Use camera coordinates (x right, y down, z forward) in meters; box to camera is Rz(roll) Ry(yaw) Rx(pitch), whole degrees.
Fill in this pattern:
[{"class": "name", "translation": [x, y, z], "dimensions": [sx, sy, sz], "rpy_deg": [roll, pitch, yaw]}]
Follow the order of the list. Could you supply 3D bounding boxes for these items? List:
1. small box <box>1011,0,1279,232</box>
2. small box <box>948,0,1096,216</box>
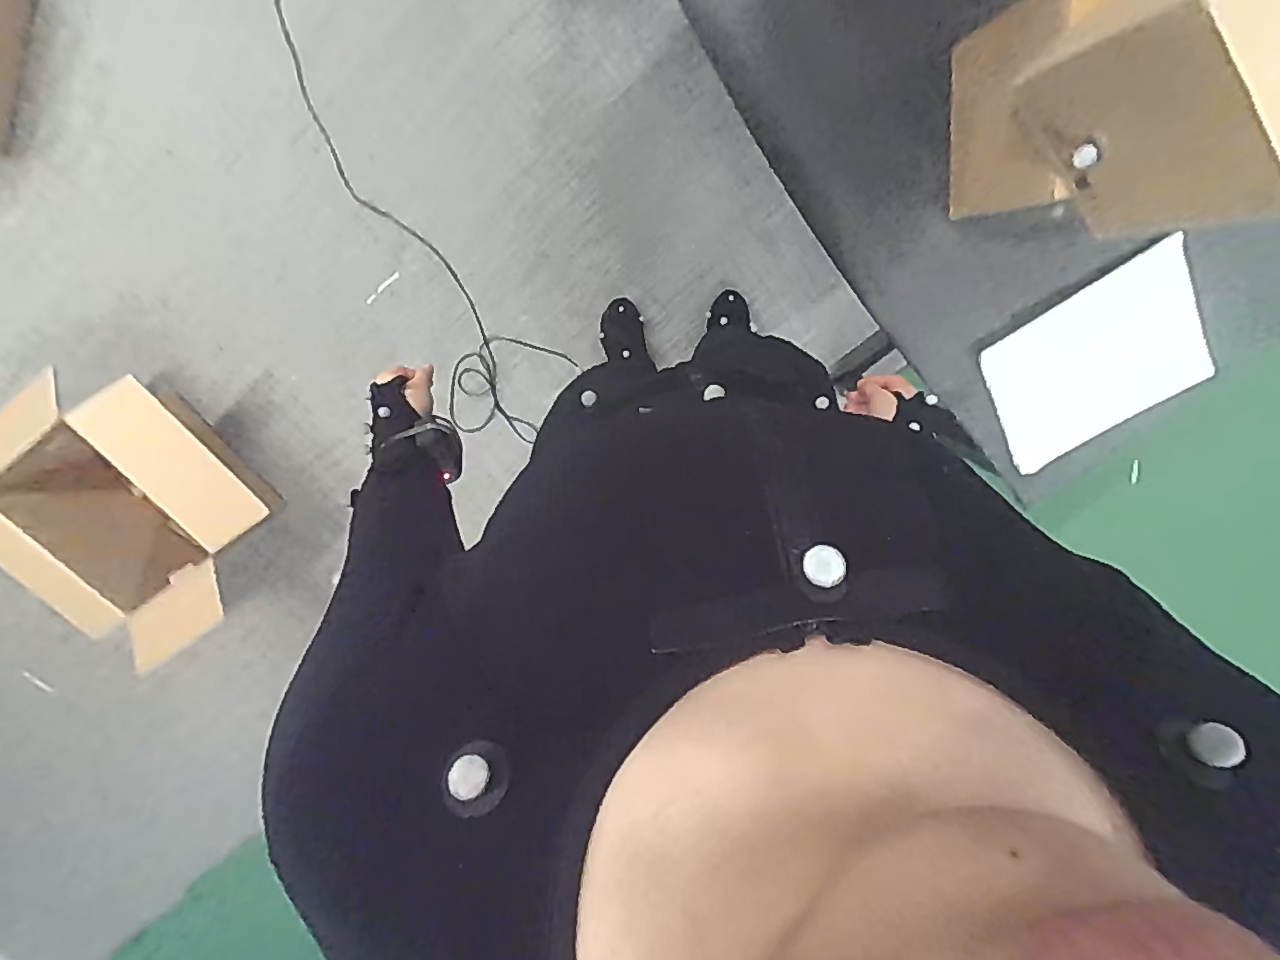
[{"class": "small box", "translation": [0.427, -0.310, 0.388], "dimensions": [0.179, 0.176, 0.168], "rpy_deg": [-42, 104, 12]}, {"class": "small box", "translation": [0.434, -0.374, 0.540], "dimensions": [0.168, 0.176, 0.179], "rpy_deg": [-10, 108, 2]}]
